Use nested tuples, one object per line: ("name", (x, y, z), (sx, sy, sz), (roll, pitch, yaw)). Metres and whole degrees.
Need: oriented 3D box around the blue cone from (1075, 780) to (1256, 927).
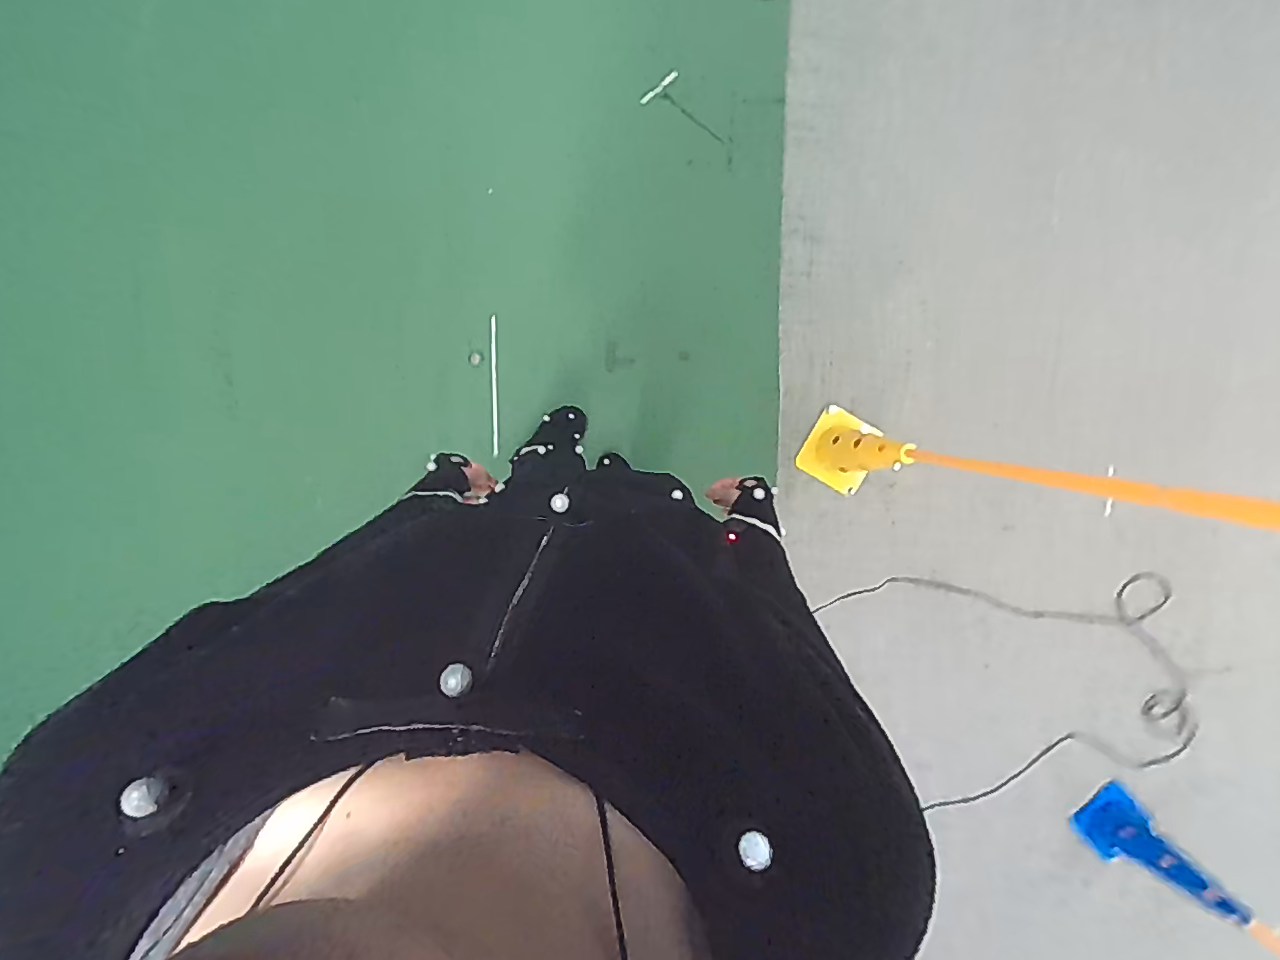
("blue cone", (1.463, 1.043, 1.492), (0.193, 0.380, 0.192), (45, 90, -8))
